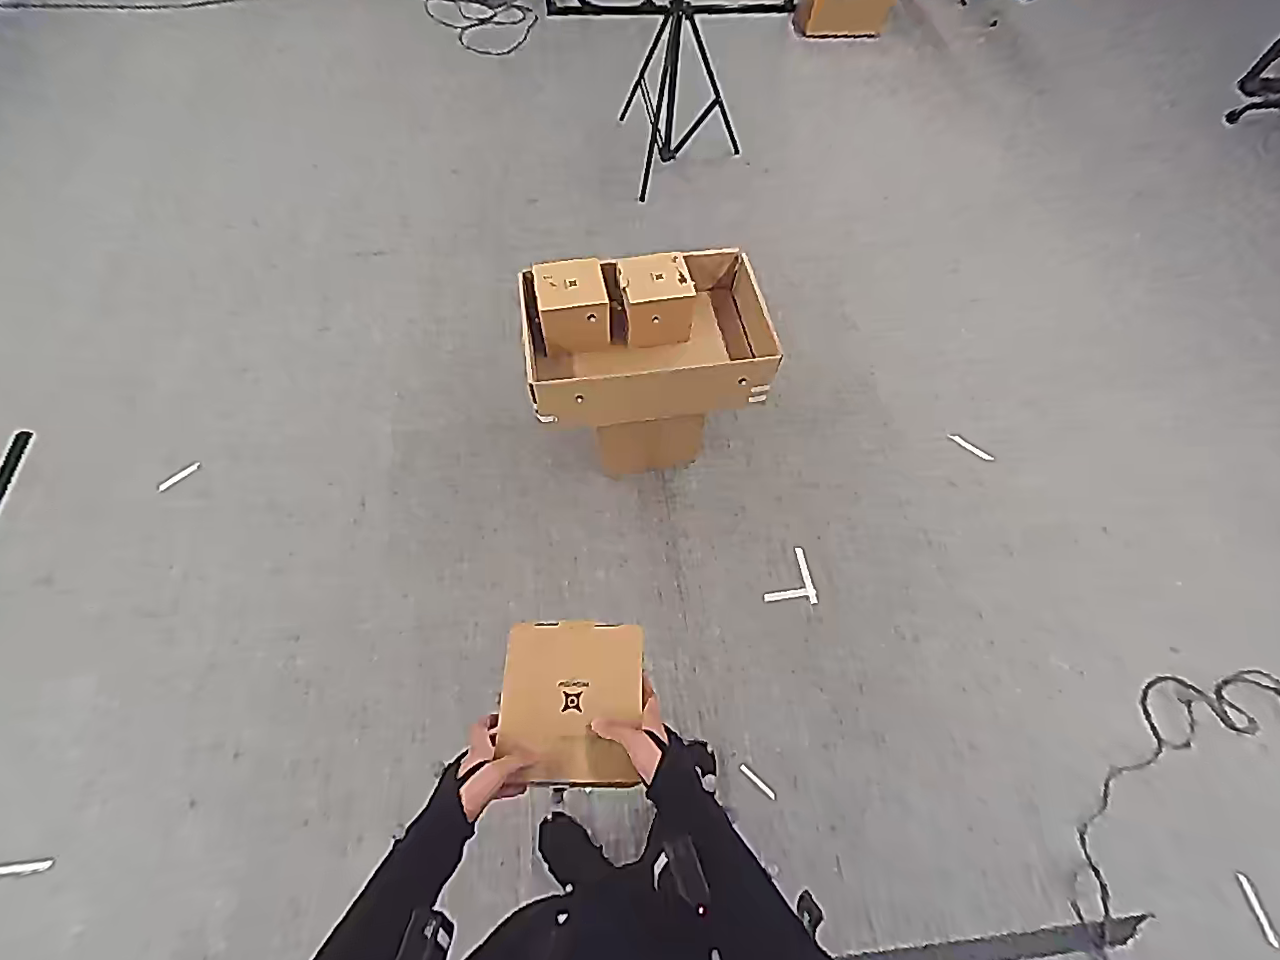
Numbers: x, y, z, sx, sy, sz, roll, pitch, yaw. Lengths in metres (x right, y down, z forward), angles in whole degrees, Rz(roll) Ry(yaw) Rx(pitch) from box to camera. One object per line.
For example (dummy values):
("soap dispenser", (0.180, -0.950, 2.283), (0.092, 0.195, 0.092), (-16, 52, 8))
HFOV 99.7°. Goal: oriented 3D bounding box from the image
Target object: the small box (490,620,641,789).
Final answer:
("small box", (-0.088, 0.292, 0.696), (0.168, 0.176, 0.179), (2, 58, -4))
